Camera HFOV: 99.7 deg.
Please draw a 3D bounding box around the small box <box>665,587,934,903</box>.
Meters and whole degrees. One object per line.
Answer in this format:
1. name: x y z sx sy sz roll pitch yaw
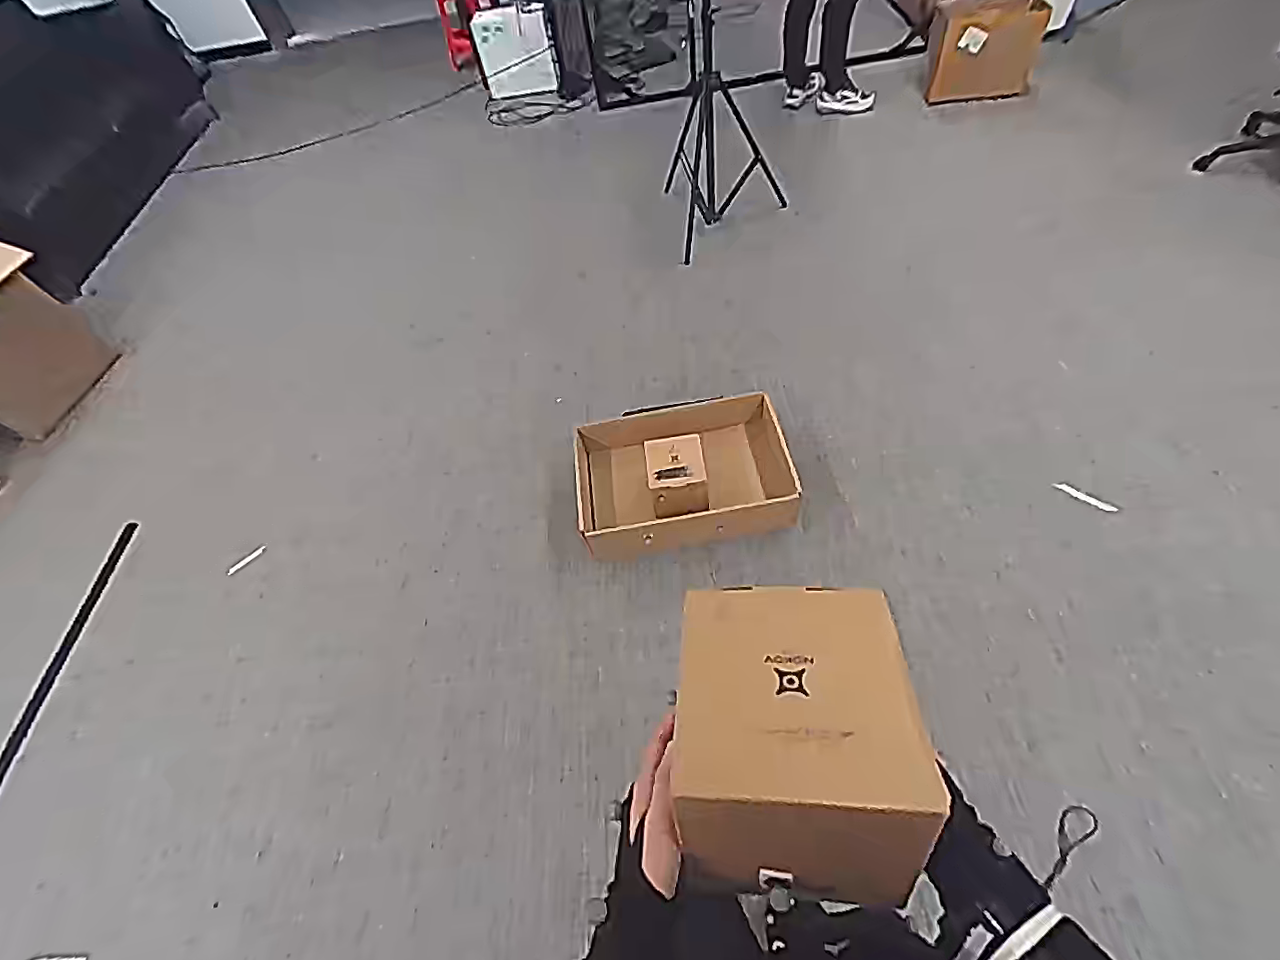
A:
1. small box: 0.115 0.209 0.447 0.168 0.176 0.179 -2 37 10
